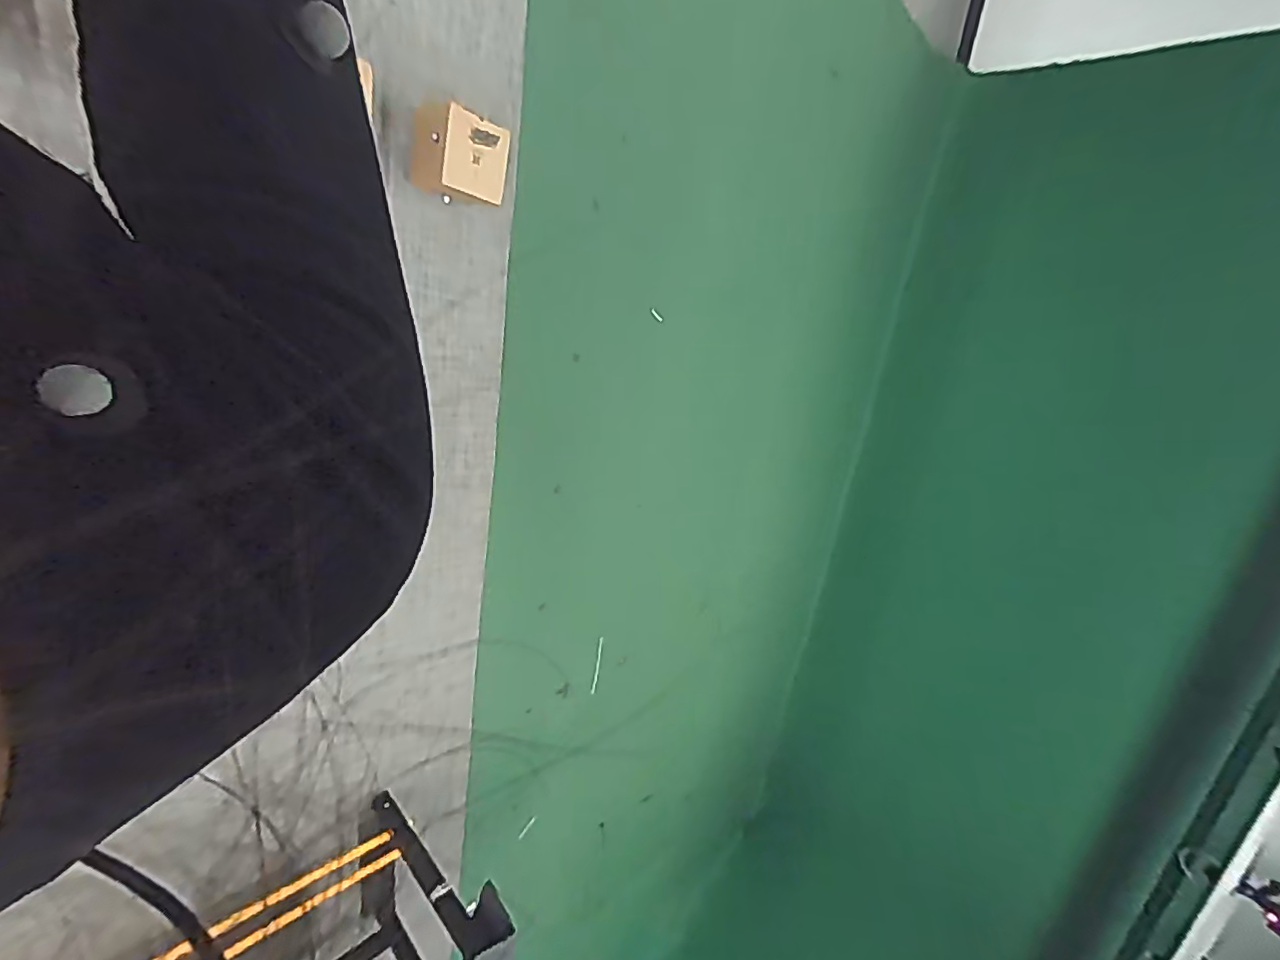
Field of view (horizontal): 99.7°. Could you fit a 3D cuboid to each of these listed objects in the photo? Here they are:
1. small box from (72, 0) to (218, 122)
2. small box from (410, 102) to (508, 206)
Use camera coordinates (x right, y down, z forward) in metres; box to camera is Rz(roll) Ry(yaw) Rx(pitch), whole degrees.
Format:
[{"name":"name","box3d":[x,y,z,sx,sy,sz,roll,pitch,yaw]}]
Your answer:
[{"name":"small box","box3d":[-0.845,-0.747,0.924,0.168,0.176,0.179,-7,113,-46]},{"name":"small box","box3d":[-0.456,-0.804,1.352,0.168,0.176,0.179,-4,111,-48]}]
